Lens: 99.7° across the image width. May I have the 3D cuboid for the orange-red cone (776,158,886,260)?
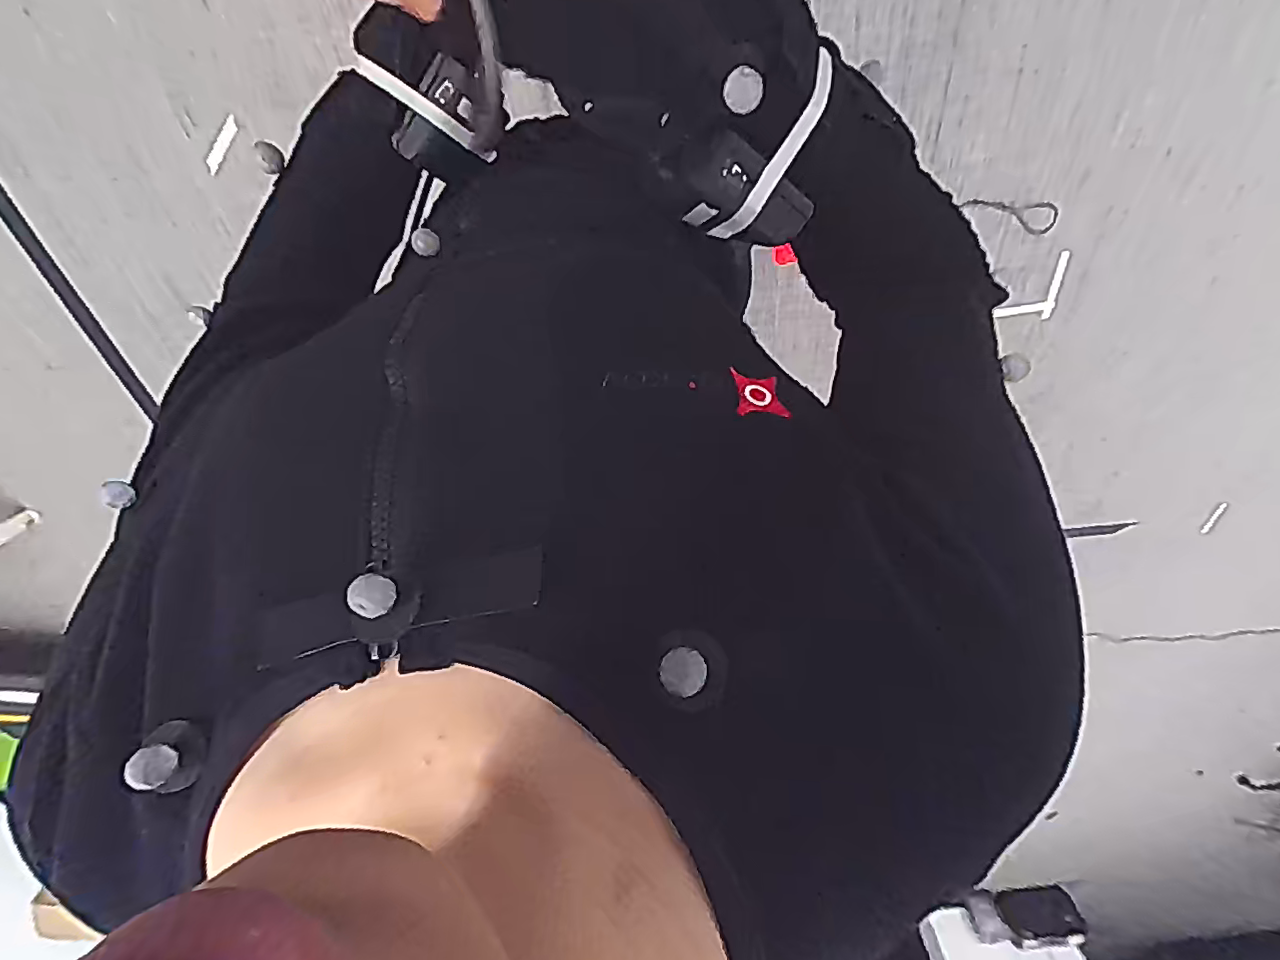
[{"bbox_3d":[0.416,-0.516,1.107,0.199,0.360,0.198,-9,126,5],"label":"orange-red cone"}]
